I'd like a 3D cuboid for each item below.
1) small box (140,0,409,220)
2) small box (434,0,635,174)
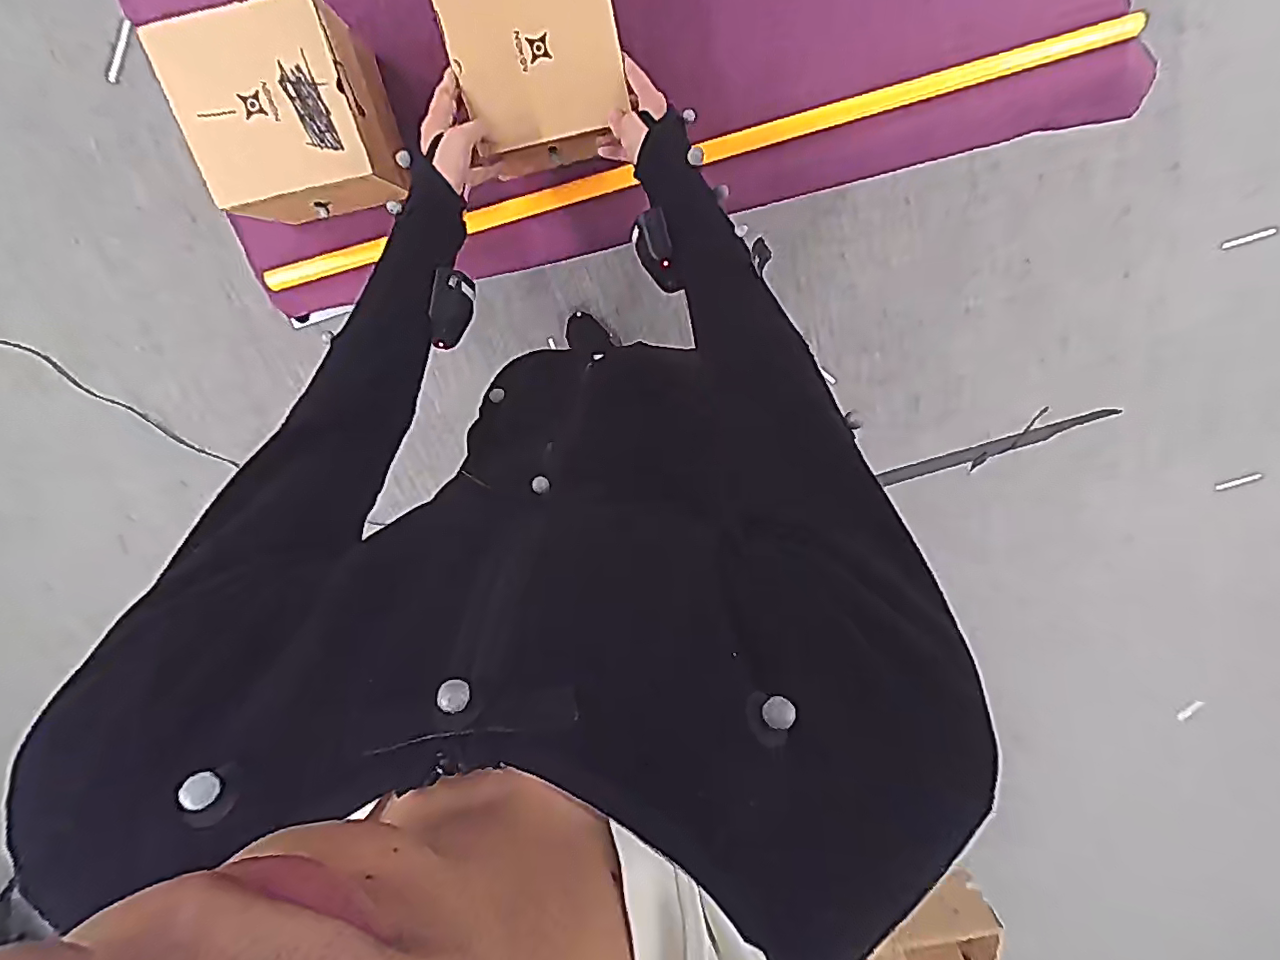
[{"bbox_3d":[-0.389,-0.410,0.622,0.179,0.176,0.168,-13,111,0],"label":"small box"},{"bbox_3d":[-0.112,-0.470,0.622,0.179,0.176,0.168,-14,113,1],"label":"small box"}]
